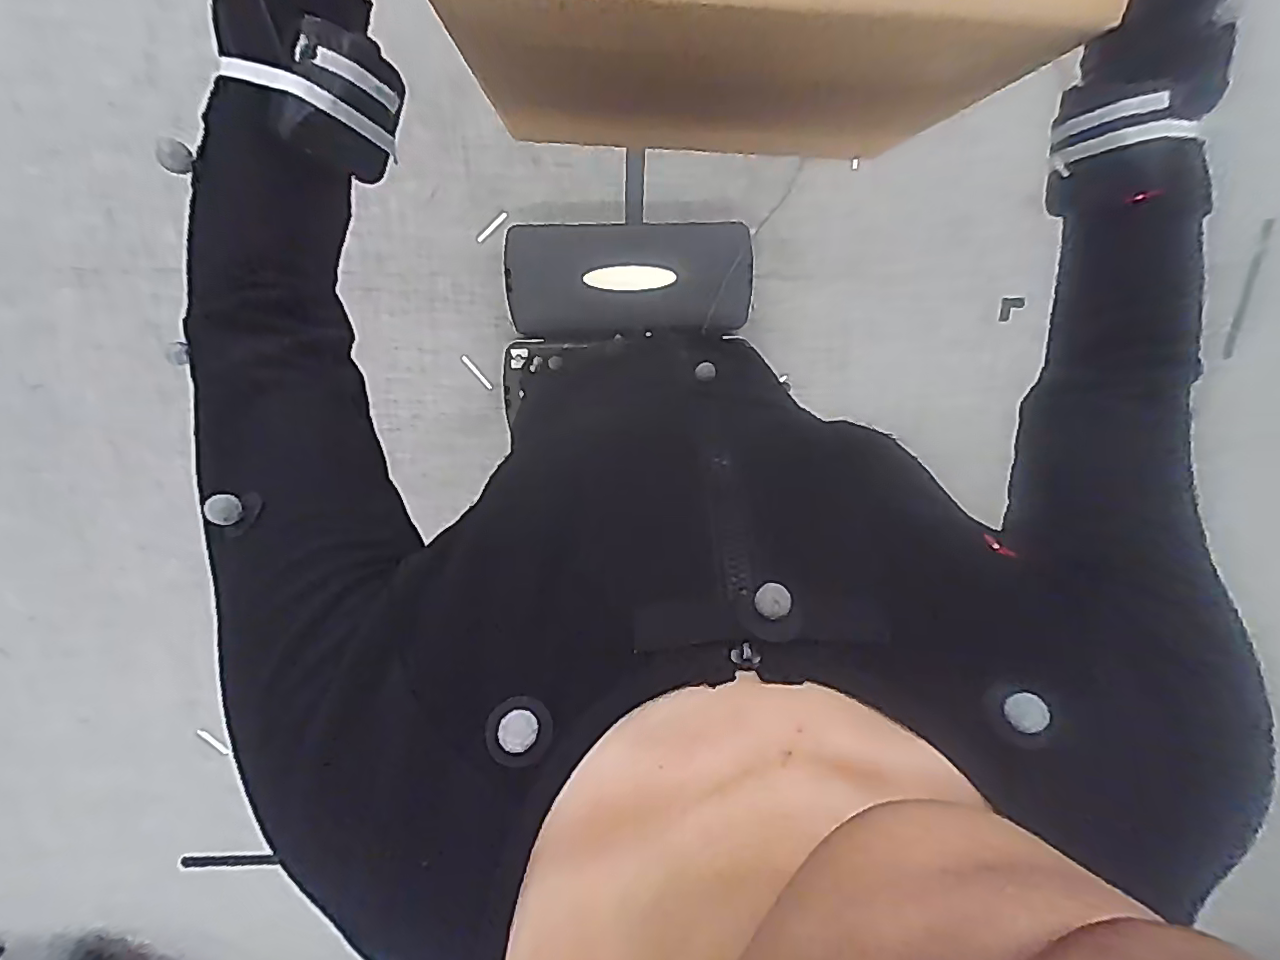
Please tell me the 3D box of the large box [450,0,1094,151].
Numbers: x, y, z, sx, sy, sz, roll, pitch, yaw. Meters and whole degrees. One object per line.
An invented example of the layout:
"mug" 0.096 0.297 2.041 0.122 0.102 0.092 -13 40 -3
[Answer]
"large box" 0.071 -0.470 0.415 0.408 0.320 0.320 0 109 -4

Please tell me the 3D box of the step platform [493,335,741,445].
"step platform" -0.061 -0.253 1.524 0.684 0.204 0.286 -2 105 -1
